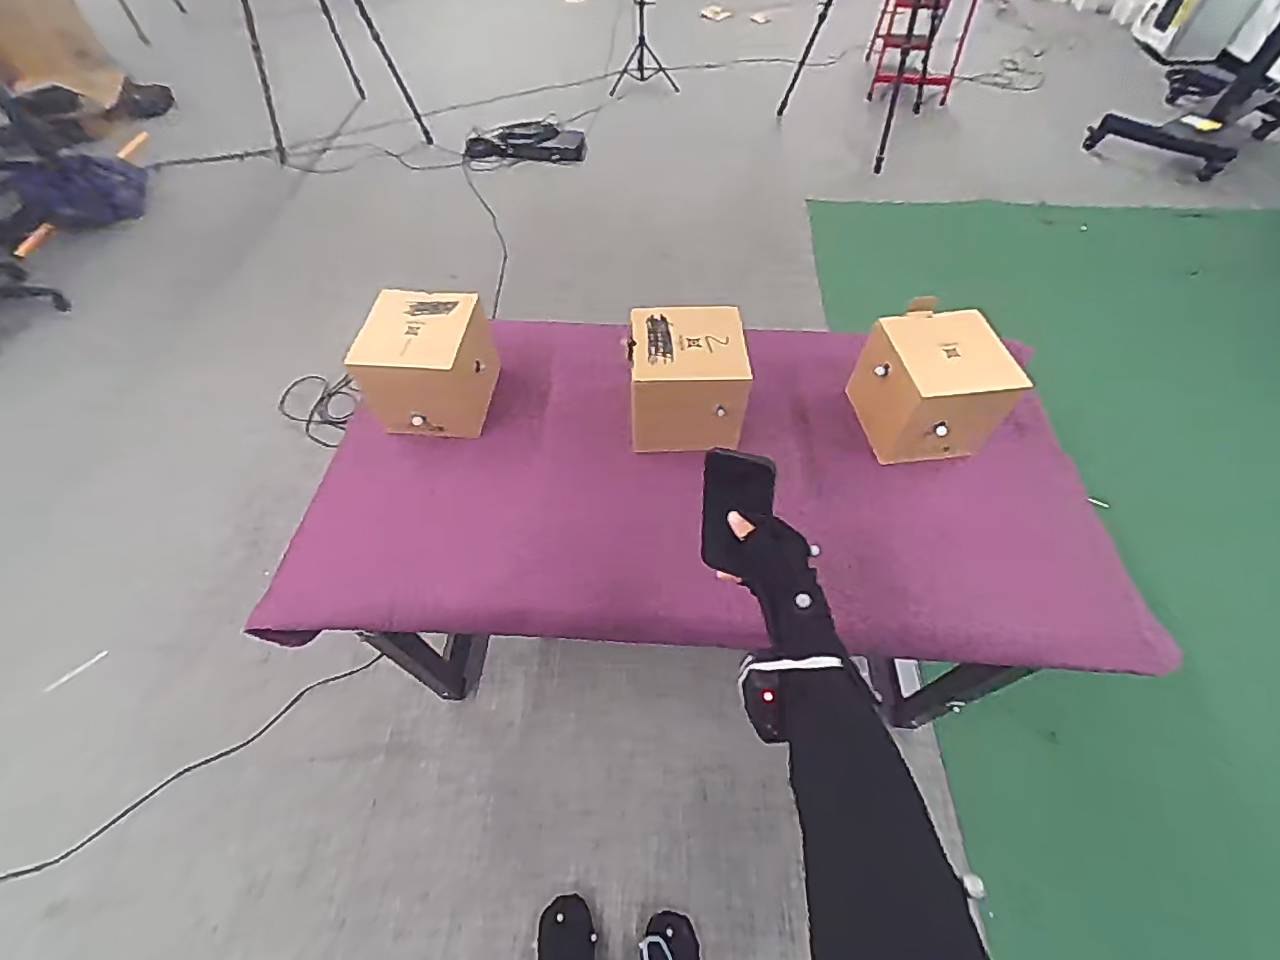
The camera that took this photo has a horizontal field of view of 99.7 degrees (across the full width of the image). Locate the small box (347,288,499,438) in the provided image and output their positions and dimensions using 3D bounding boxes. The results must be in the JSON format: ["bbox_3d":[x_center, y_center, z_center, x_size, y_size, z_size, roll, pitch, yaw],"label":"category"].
[{"bbox_3d":[-0.346,-0.194,0.907,0.168,0.176,0.179,4,57,3],"label":"small box"}]

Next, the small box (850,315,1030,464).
[{"bbox_3d":[0.465,-0.139,0.873,0.168,0.176,0.179,-6,55,-3],"label":"small box"}]
